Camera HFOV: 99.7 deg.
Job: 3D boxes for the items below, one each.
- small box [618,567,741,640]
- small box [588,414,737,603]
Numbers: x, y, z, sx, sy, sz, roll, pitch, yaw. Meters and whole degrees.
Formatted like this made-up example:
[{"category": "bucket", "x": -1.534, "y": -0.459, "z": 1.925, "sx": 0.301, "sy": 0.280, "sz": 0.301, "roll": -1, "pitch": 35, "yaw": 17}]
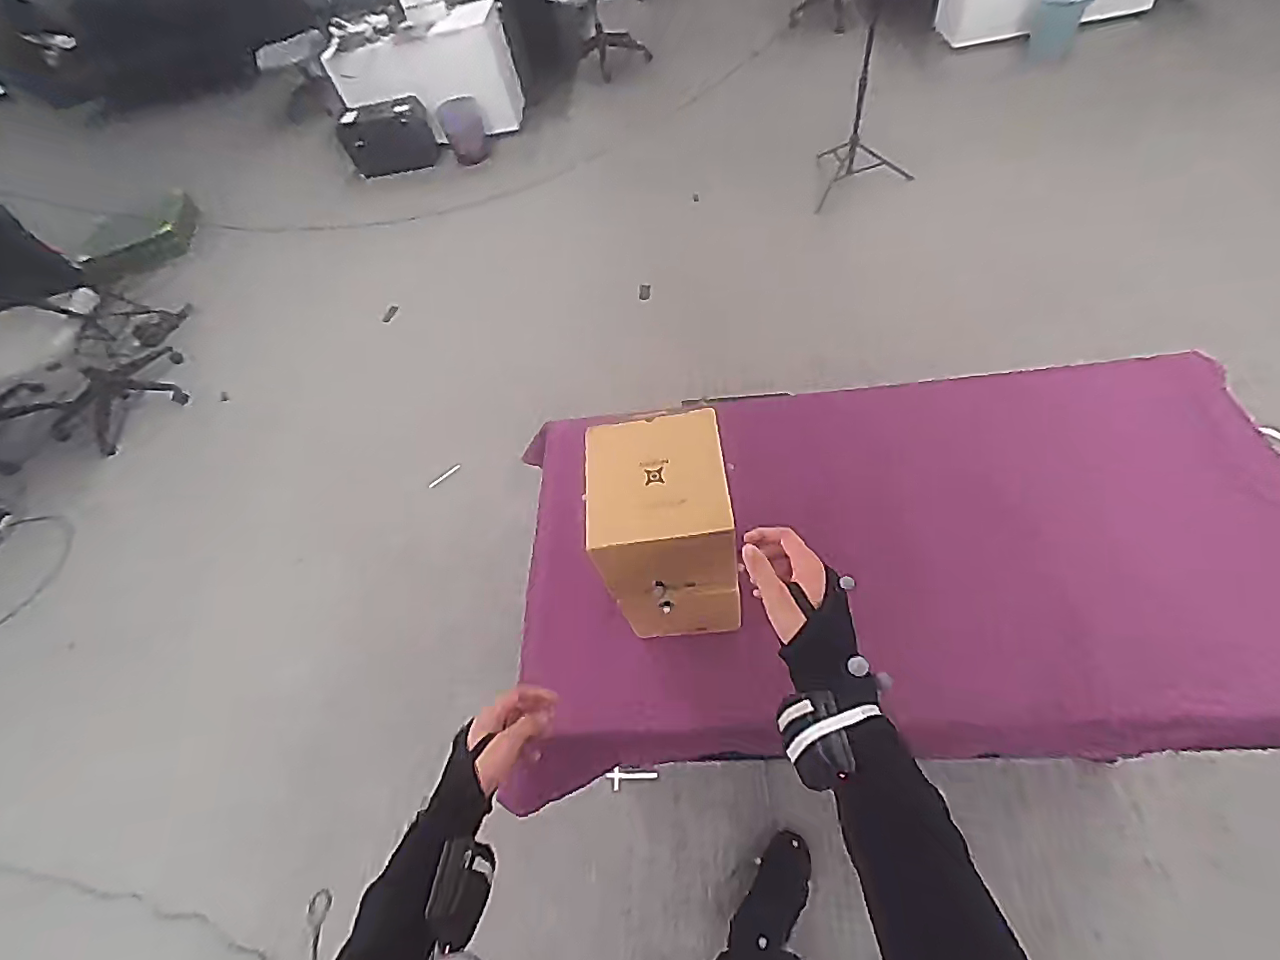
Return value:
[{"category": "small box", "x": 0.064, "y": 0.132, "z": 0.832, "sx": 0.168, "sy": 0.176, "sz": 0.179, "roll": -6, "pitch": 56, "yaw": 8}, {"category": "small box", "x": 0.032, "y": 0.041, "z": 0.699, "sx": 0.168, "sy": 0.176, "sz": 0.179, "roll": -7, "pitch": 56, "yaw": 7}]
